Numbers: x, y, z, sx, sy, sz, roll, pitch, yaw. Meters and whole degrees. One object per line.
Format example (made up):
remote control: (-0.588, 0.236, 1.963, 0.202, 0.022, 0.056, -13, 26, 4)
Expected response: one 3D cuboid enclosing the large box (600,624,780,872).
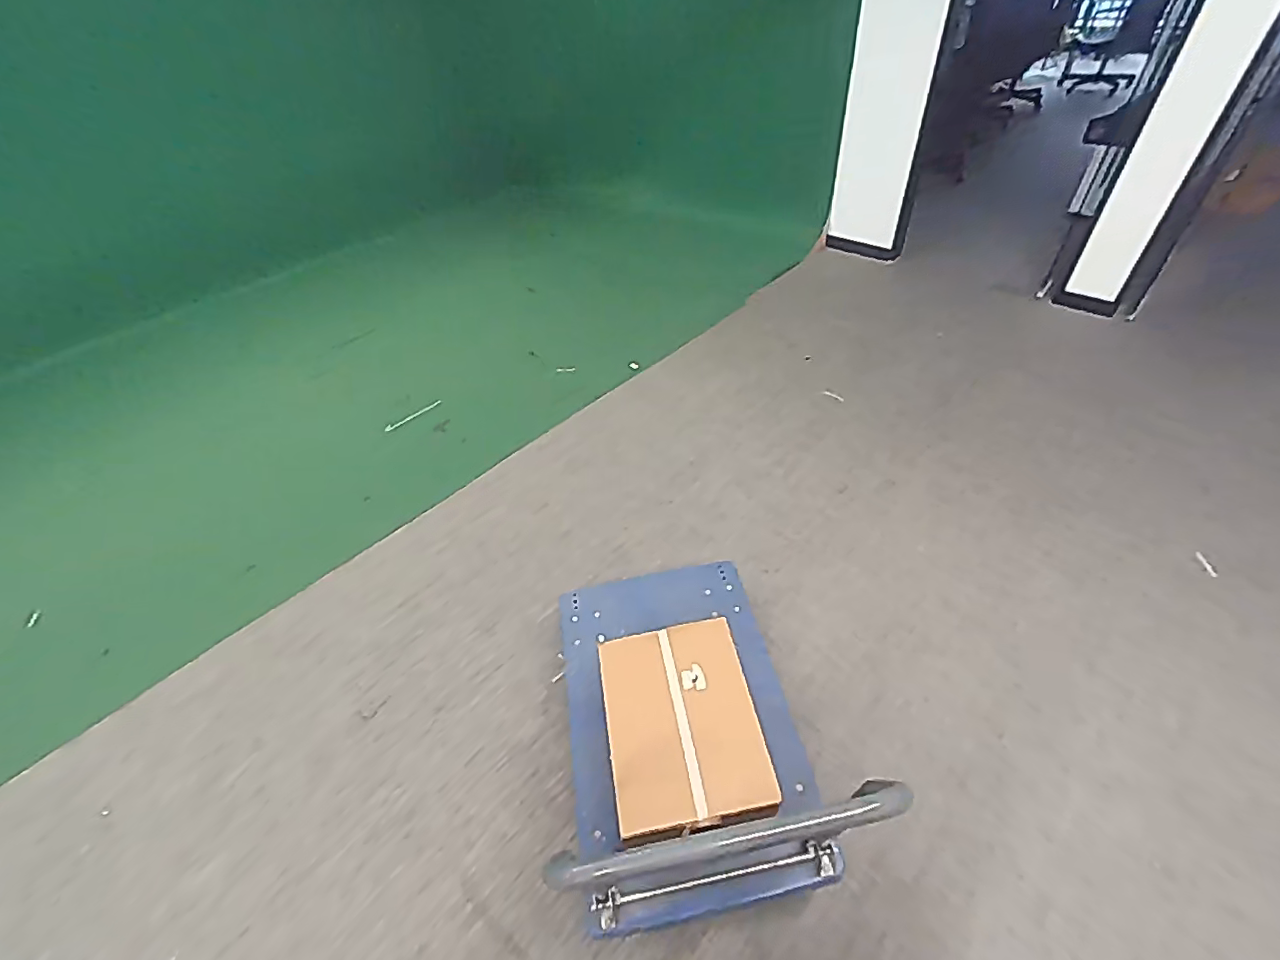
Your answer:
large box: (0.104, 0.617, 1.264, 0.320, 0.320, 0.408, -11, 44, -3)
